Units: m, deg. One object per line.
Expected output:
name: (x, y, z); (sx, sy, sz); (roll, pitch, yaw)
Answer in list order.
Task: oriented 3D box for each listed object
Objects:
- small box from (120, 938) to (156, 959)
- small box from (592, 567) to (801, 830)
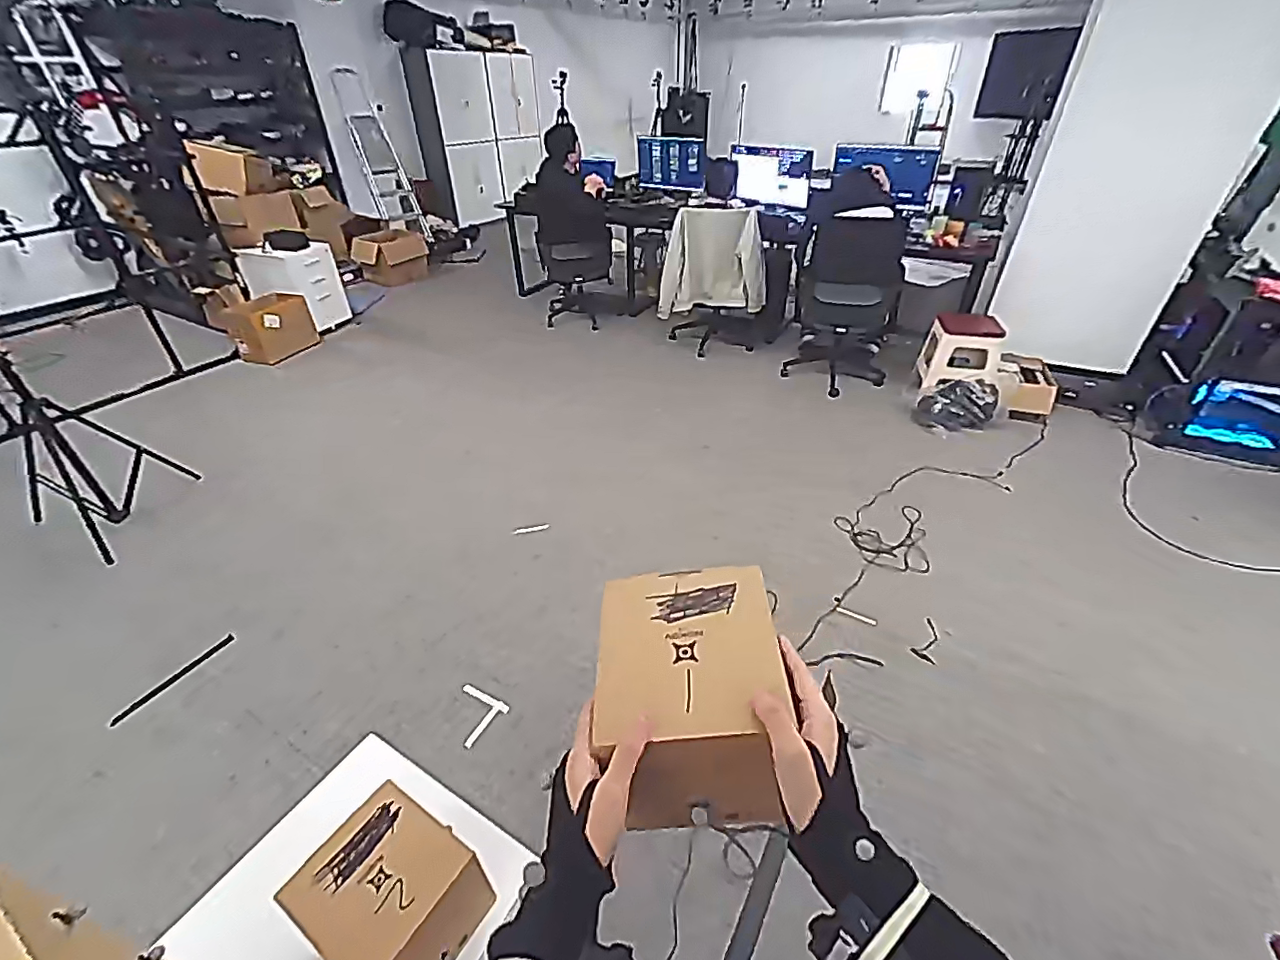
small box: (-0.446, 0.537, 0.446); (0.179, 0.176, 0.168); (17, 40, 25)
small box: (0.055, 0.212, 0.533); (0.168, 0.176, 0.179); (-7, 37, 6)
